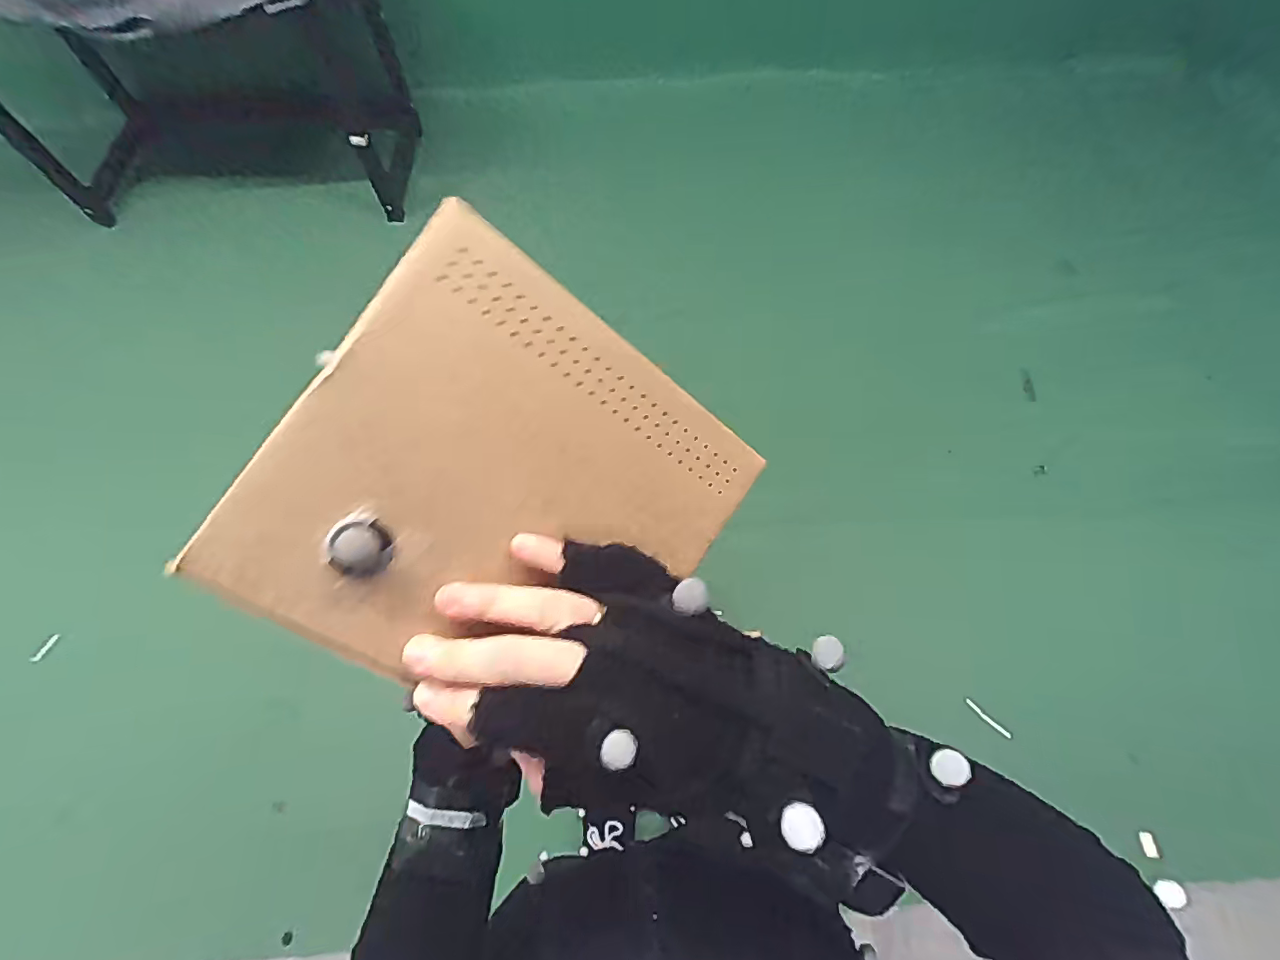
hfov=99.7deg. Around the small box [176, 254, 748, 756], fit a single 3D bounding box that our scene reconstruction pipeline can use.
[{"bbox_3d":[-0.079,0.001,0.295,0.179,0.168,0.176,35,88,-22],"label":"small box"}]
